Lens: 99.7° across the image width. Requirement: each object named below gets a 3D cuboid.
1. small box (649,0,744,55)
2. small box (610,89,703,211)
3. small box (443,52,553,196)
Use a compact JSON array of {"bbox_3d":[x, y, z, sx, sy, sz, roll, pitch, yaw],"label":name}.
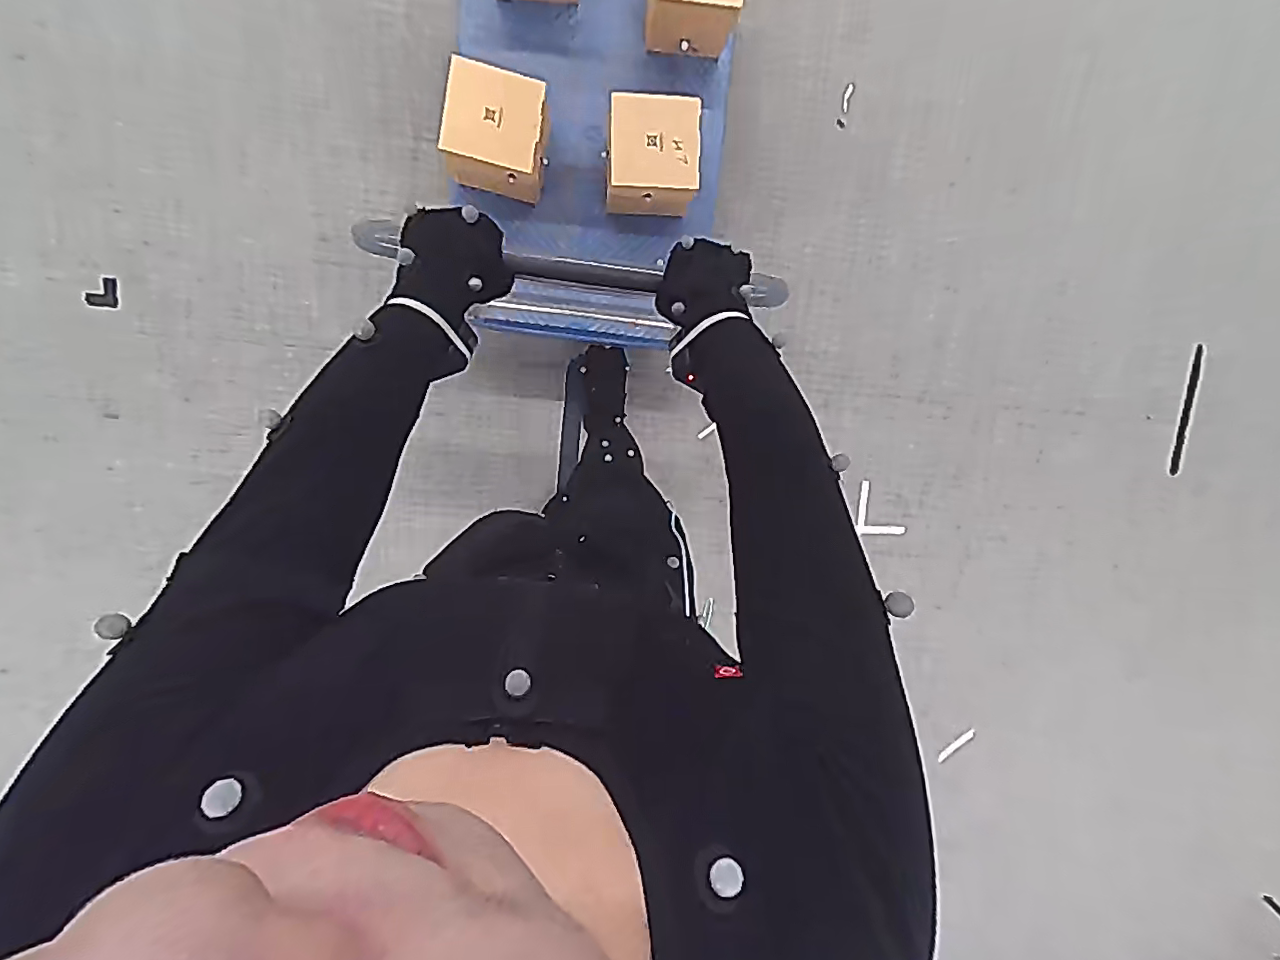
[{"bbox_3d":[0.110,-0.996,1.072,0.168,0.176,0.179,1,101,-6],"label":"small box"},{"bbox_3d":[0.027,-0.672,1.120,0.179,0.176,0.168,0,100,-6],"label":"small box"},{"bbox_3d":[-0.276,-0.696,1.082,0.179,0.176,0.168,10,98,-10],"label":"small box"}]
